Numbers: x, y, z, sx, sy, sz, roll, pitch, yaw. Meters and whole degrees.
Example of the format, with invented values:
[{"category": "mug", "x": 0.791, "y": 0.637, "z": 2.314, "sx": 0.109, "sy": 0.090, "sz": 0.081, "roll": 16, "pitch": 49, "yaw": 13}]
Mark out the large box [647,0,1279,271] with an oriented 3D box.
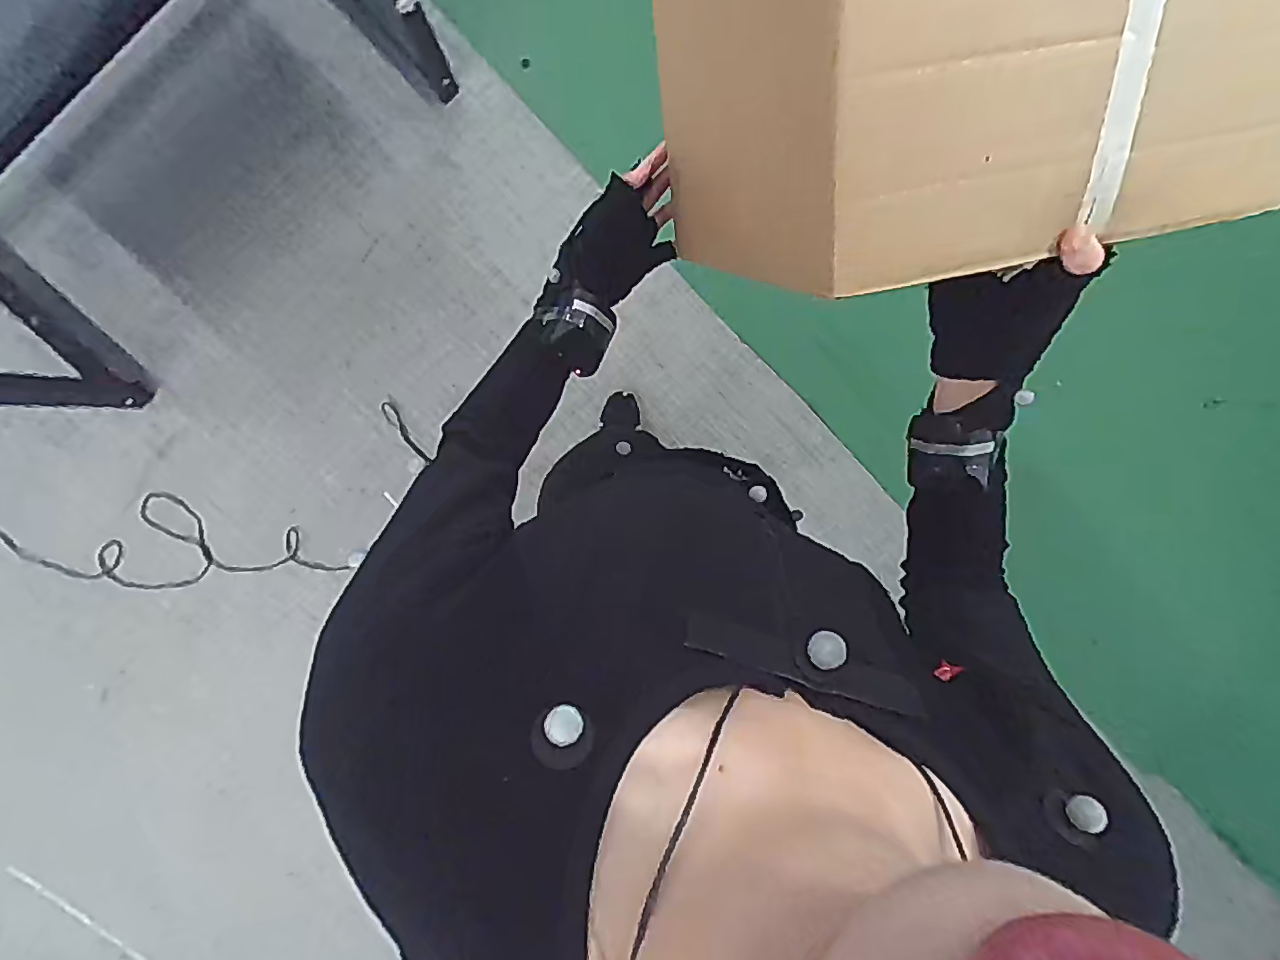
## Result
[{"category": "large box", "x": 0.180, "y": -0.383, "z": 0.357, "sx": 0.320, "sy": 0.320, "sz": 0.408, "roll": -14, "pitch": 116, "yaw": -7}]
